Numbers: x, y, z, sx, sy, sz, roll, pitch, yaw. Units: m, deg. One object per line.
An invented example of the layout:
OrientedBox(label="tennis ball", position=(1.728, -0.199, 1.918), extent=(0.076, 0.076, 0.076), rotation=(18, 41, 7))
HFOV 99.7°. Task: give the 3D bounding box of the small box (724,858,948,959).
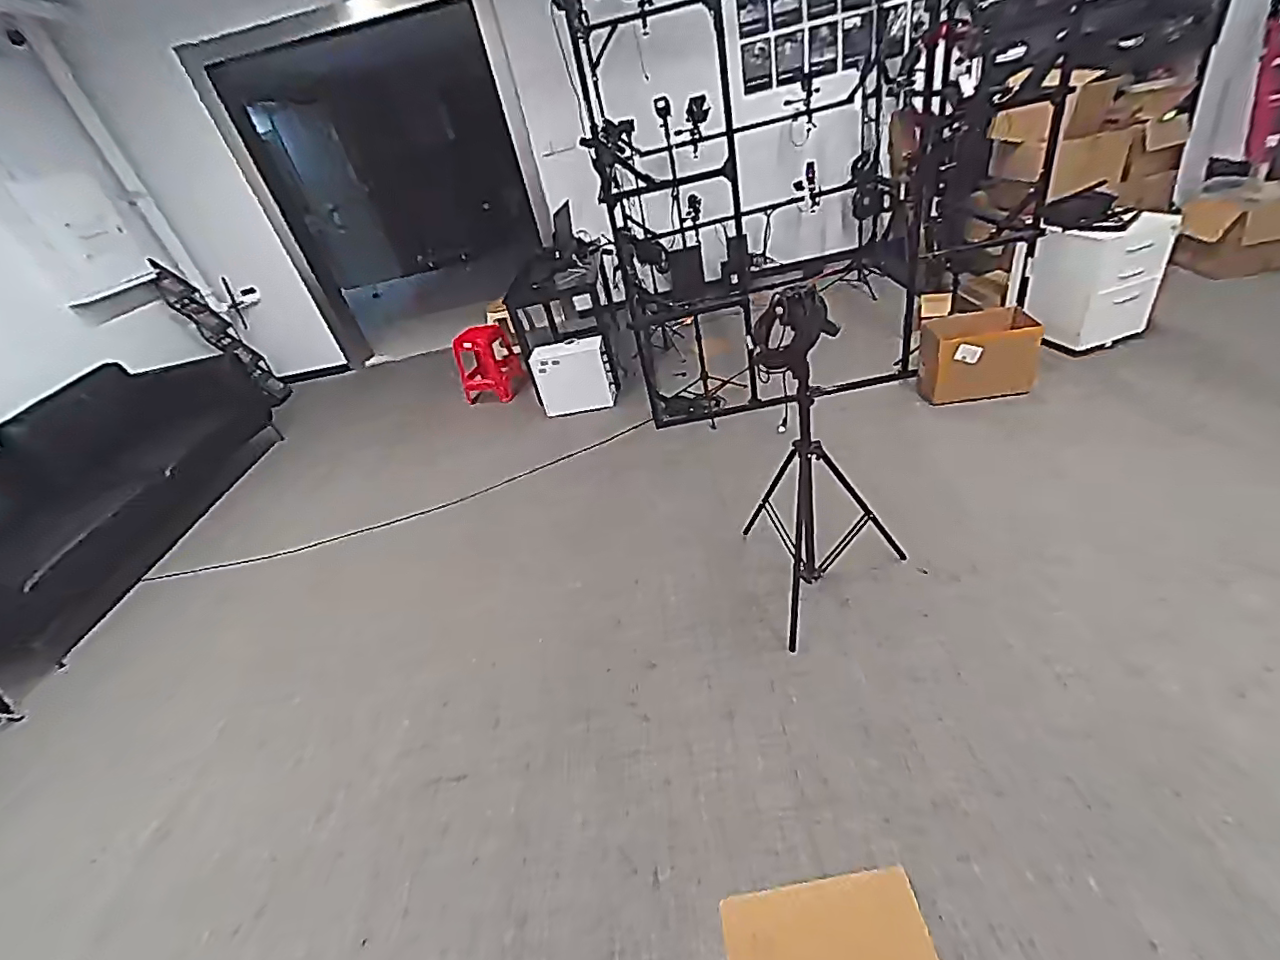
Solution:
OrientedBox(label="small box", position=(0.177, 0.454, 0.449), extent=(0.168, 0.176, 0.179), rotation=(-16, 38, 7))
